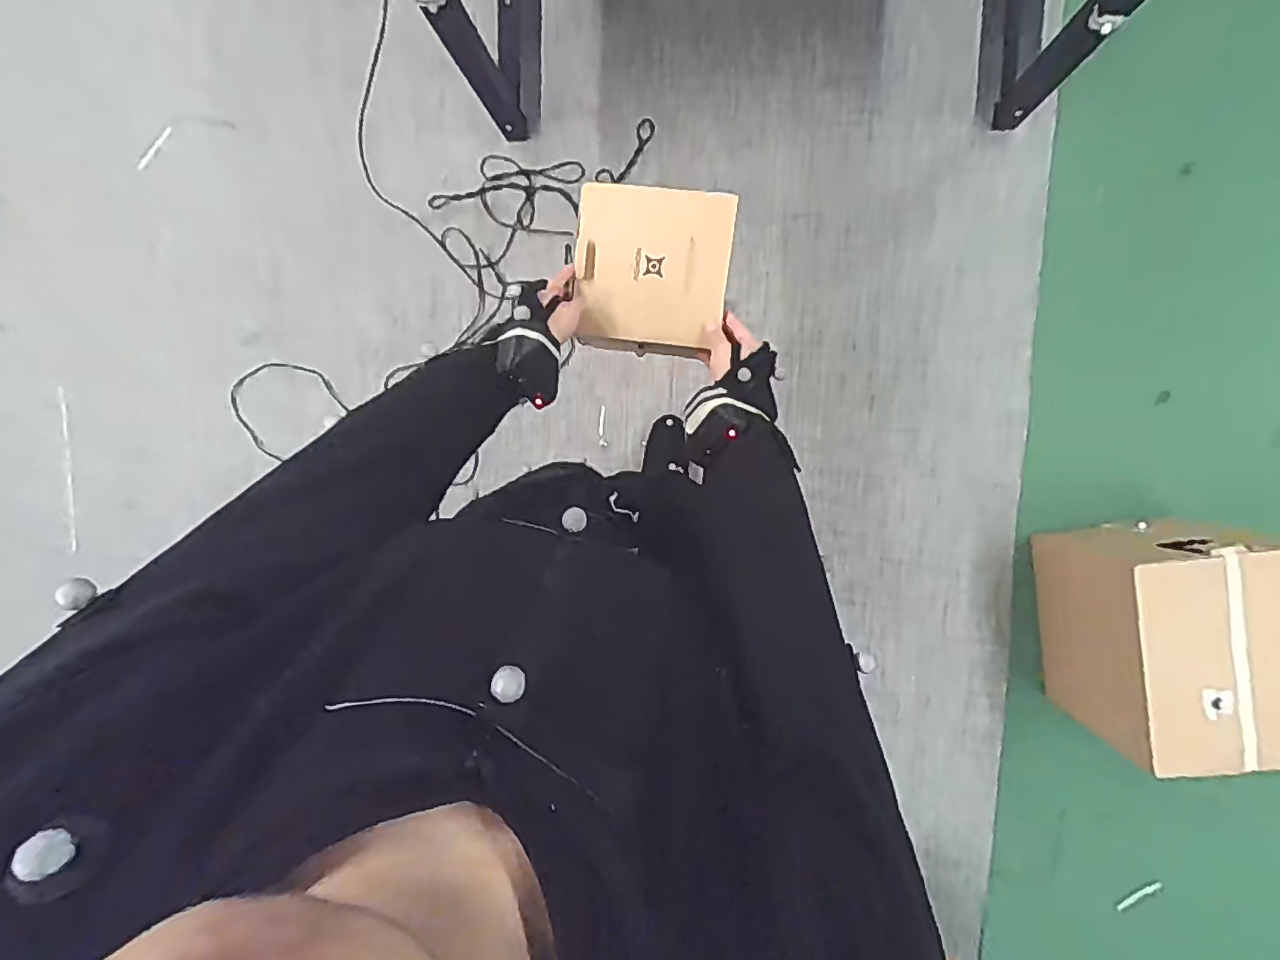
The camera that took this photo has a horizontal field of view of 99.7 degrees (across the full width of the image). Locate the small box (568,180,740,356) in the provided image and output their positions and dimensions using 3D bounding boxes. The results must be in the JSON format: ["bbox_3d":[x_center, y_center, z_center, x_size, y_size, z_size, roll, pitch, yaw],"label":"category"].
[{"bbox_3d":[0.021,-0.250,0.674,0.179,0.176,0.168,7,100,4],"label":"small box"}]
